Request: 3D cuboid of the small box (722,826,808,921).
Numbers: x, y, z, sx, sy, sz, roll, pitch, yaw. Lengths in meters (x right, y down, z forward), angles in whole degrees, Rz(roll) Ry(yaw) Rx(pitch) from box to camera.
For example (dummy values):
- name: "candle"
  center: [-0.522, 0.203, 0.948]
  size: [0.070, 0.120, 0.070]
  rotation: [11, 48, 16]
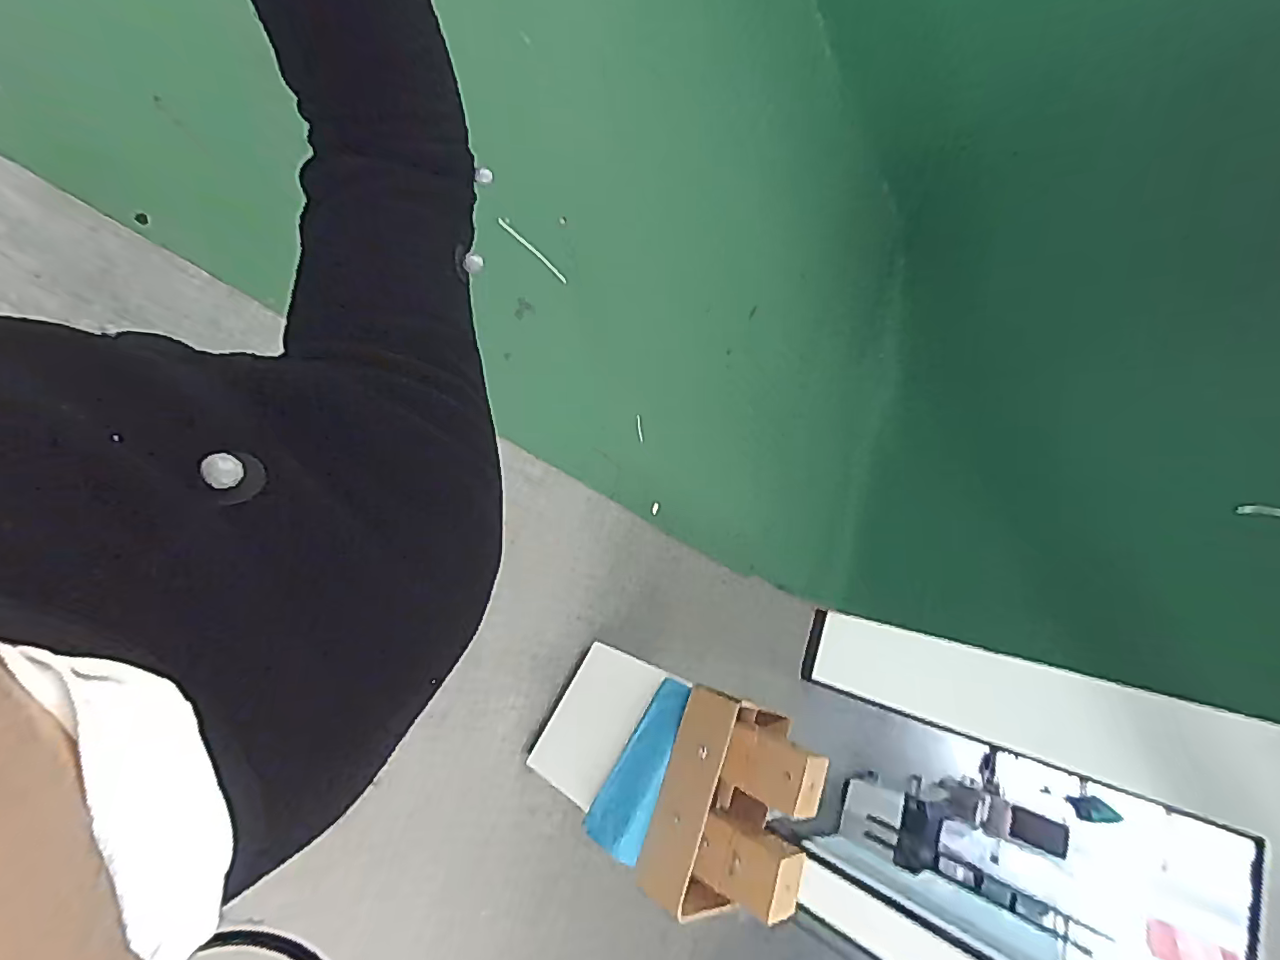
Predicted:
- name: "small box"
  center: [0.371, 1.156, 1.604]
  size: [0.179, 0.176, 0.168]
  rotation: [32, 70, -44]

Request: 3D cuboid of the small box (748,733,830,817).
- name: "small box"
  center: [0.455, 0.898, 1.660]
  size: [0.168, 0.176, 0.179]
  rotation: [31, 73, -43]
